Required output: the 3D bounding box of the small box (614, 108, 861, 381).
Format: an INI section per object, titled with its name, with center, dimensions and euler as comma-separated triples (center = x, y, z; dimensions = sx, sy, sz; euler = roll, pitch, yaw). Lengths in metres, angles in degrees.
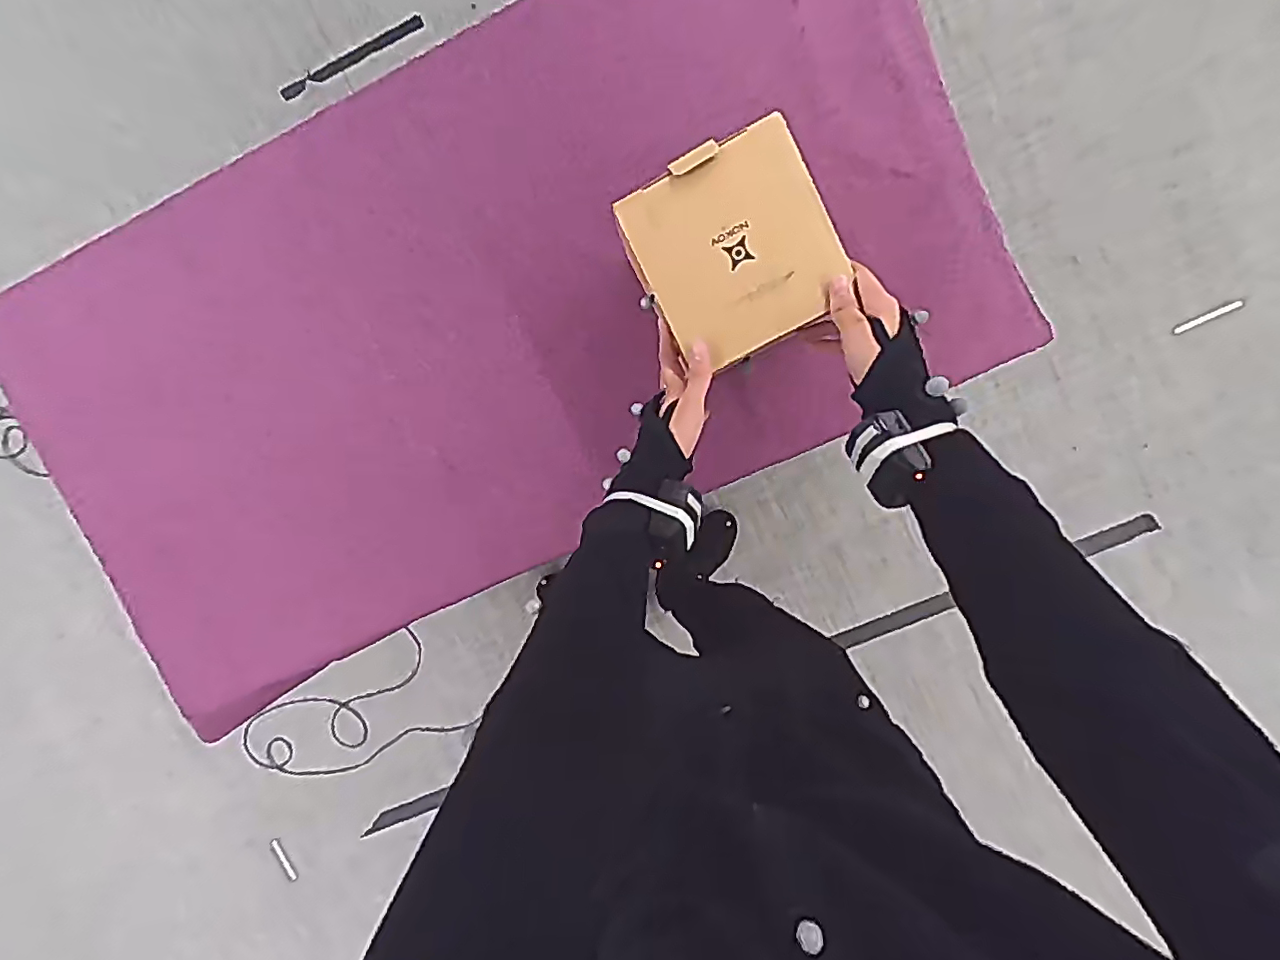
[small box]
center = 0.089, -0.214, 0.550
dimensions = 0.168, 0.176, 0.179
euler = -26, 95, 7
